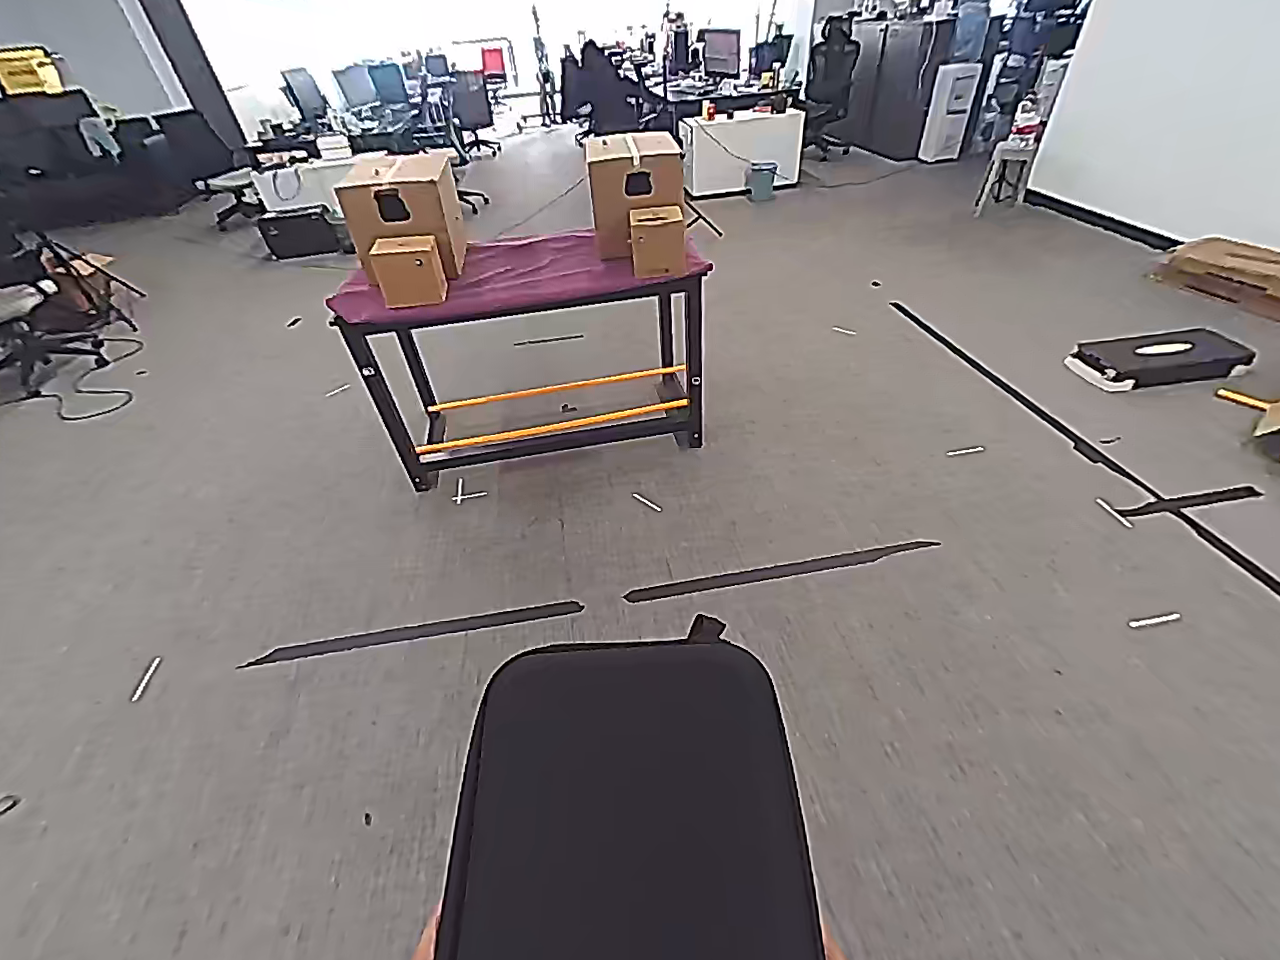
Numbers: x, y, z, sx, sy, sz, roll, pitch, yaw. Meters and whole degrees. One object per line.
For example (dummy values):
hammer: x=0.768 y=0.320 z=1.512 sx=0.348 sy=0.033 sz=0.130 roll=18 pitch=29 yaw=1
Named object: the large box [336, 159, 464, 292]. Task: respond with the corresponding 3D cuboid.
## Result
large box: x=-0.821 y=-0.910 z=1.917 sx=0.320 sy=0.320 sz=0.408 roll=-9 pitch=44 yaw=-6
